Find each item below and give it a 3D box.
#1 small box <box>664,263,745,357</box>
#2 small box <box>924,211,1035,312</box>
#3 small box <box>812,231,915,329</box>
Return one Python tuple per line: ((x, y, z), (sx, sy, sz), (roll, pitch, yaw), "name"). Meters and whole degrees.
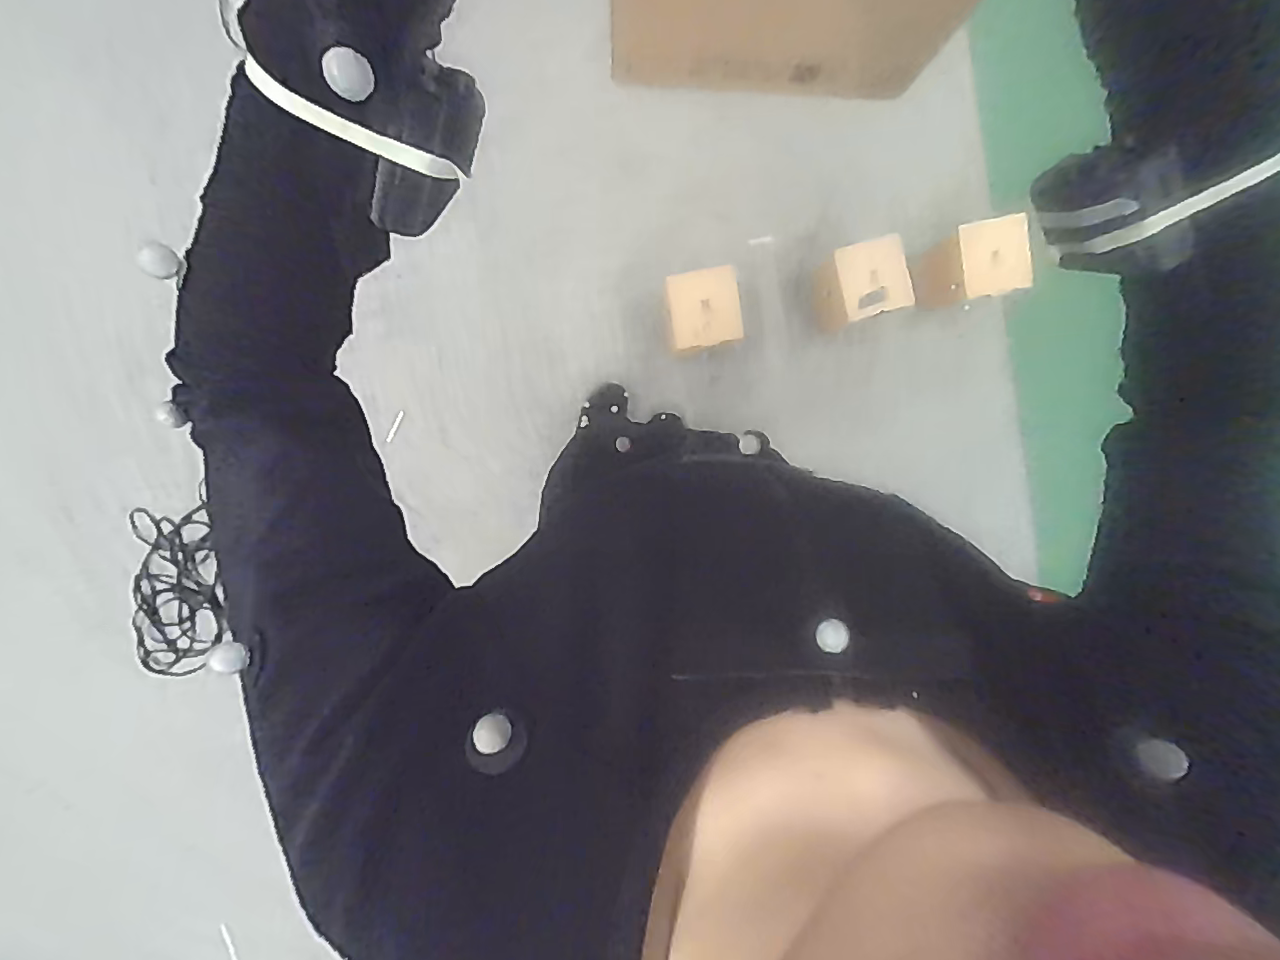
((0.155, -0.417, 1.348), (0.168, 0.176, 0.179), (-10, 96, 1), "small box")
((0.839, -0.539, 1.352), (0.168, 0.176, 0.179), (-12, 96, 1), "small box")
((0.551, -0.487, 1.351), (0.168, 0.176, 0.179), (-16, 95, 0), "small box")
